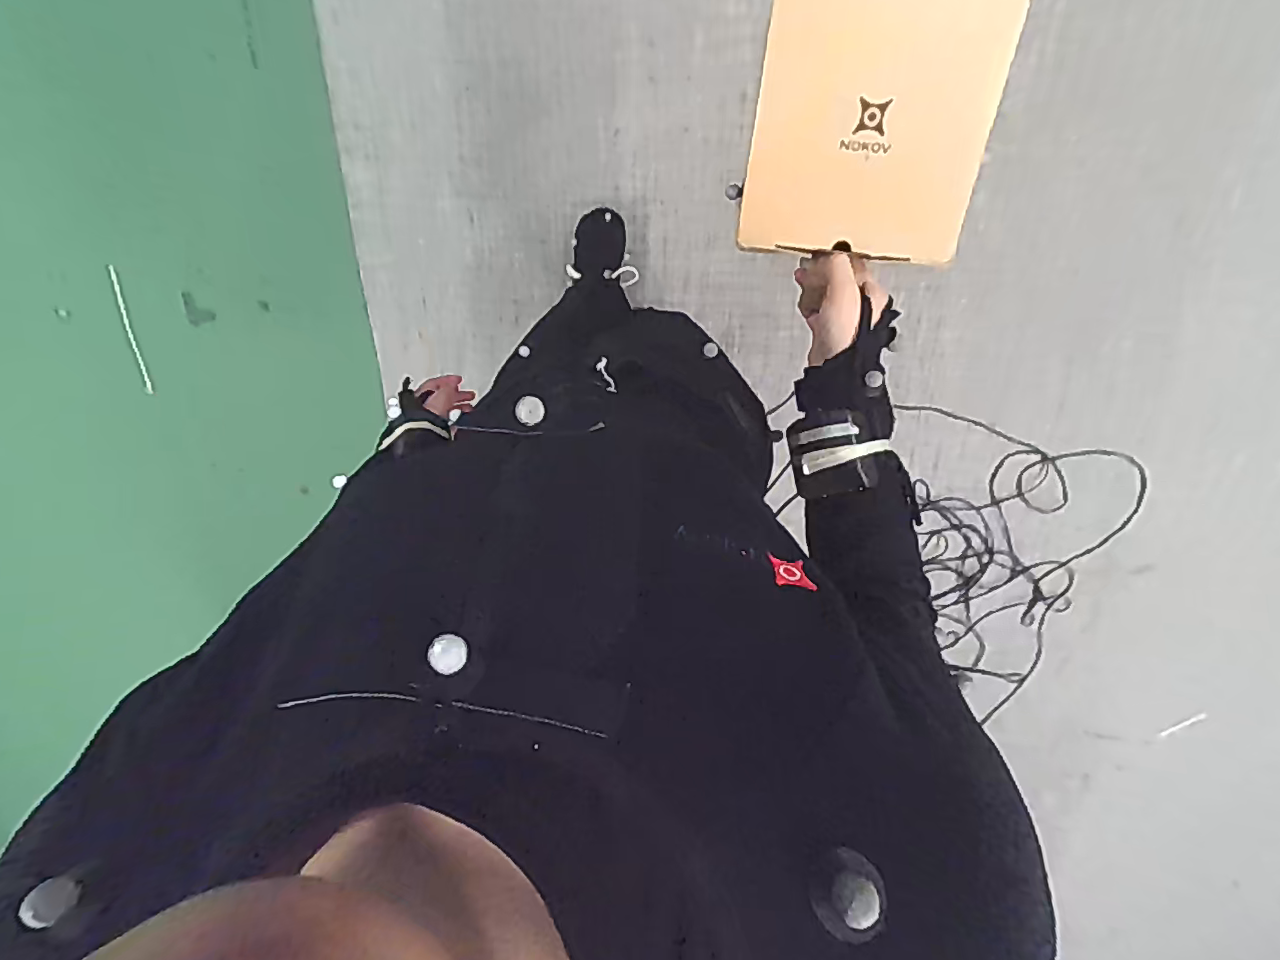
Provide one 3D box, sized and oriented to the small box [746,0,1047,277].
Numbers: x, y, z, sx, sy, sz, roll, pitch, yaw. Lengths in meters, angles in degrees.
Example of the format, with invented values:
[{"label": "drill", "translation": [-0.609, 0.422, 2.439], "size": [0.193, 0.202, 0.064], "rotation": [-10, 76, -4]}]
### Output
[{"label": "small box", "translation": [0.186, -0.278, 0.460], "size": [0.168, 0.176, 0.179], "rotation": [10, 114, 6]}]
